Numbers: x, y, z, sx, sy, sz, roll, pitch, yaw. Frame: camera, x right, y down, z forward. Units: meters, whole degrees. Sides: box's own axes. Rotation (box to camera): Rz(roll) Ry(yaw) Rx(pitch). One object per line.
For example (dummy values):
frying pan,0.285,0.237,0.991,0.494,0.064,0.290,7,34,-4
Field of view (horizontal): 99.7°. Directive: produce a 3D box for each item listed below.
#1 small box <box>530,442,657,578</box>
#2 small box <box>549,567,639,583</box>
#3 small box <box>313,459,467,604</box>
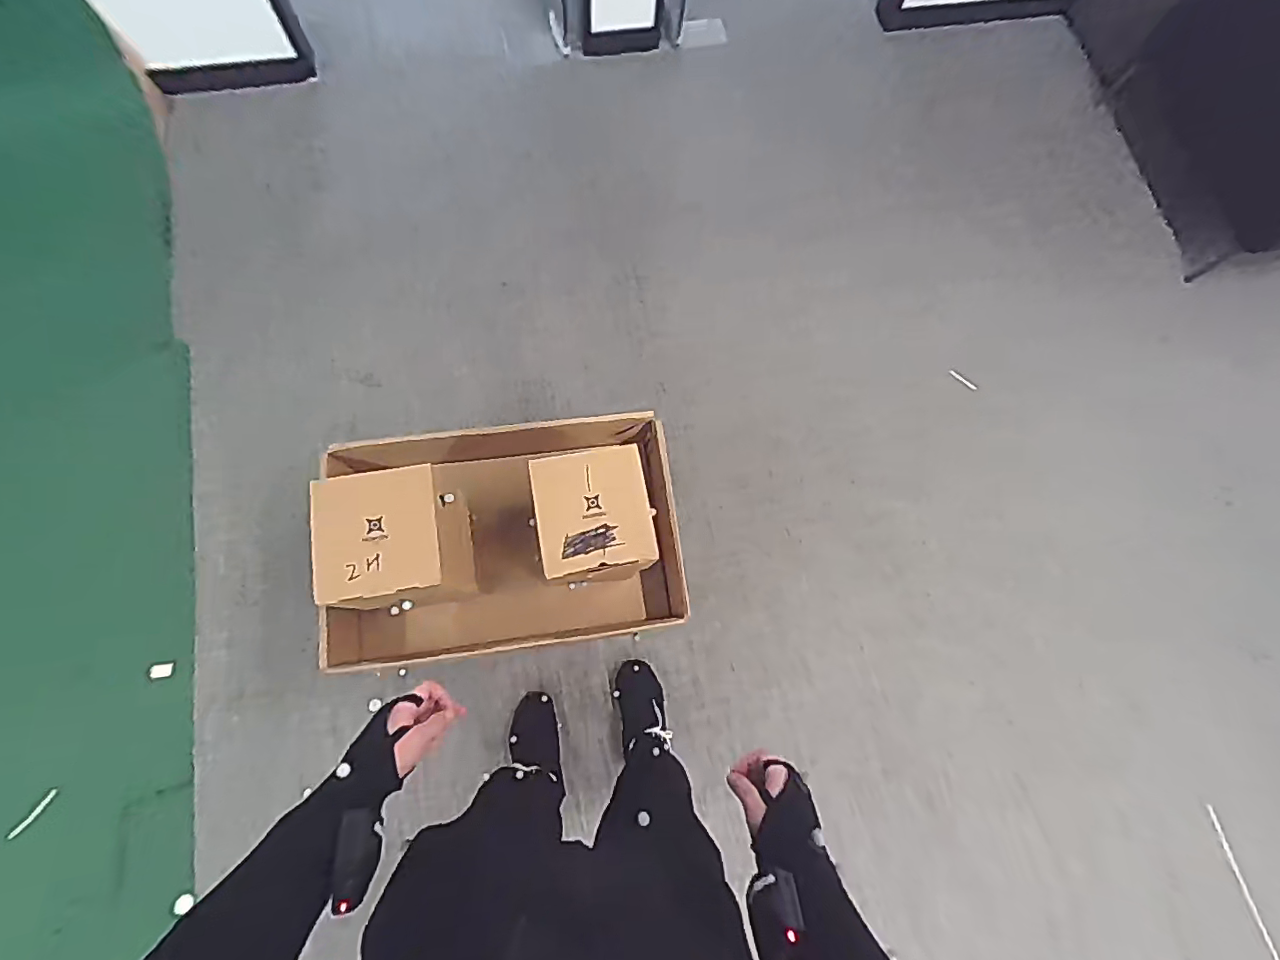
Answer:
small box,-0.074,0.056,0.852,0.168,0.176,0.179,-9,76,-8
small box,-0.097,0.093,1.011,0.168,0.176,0.179,-4,76,-7
small box,-0.367,0.084,0.816,0.168,0.176,0.179,-8,76,-7
